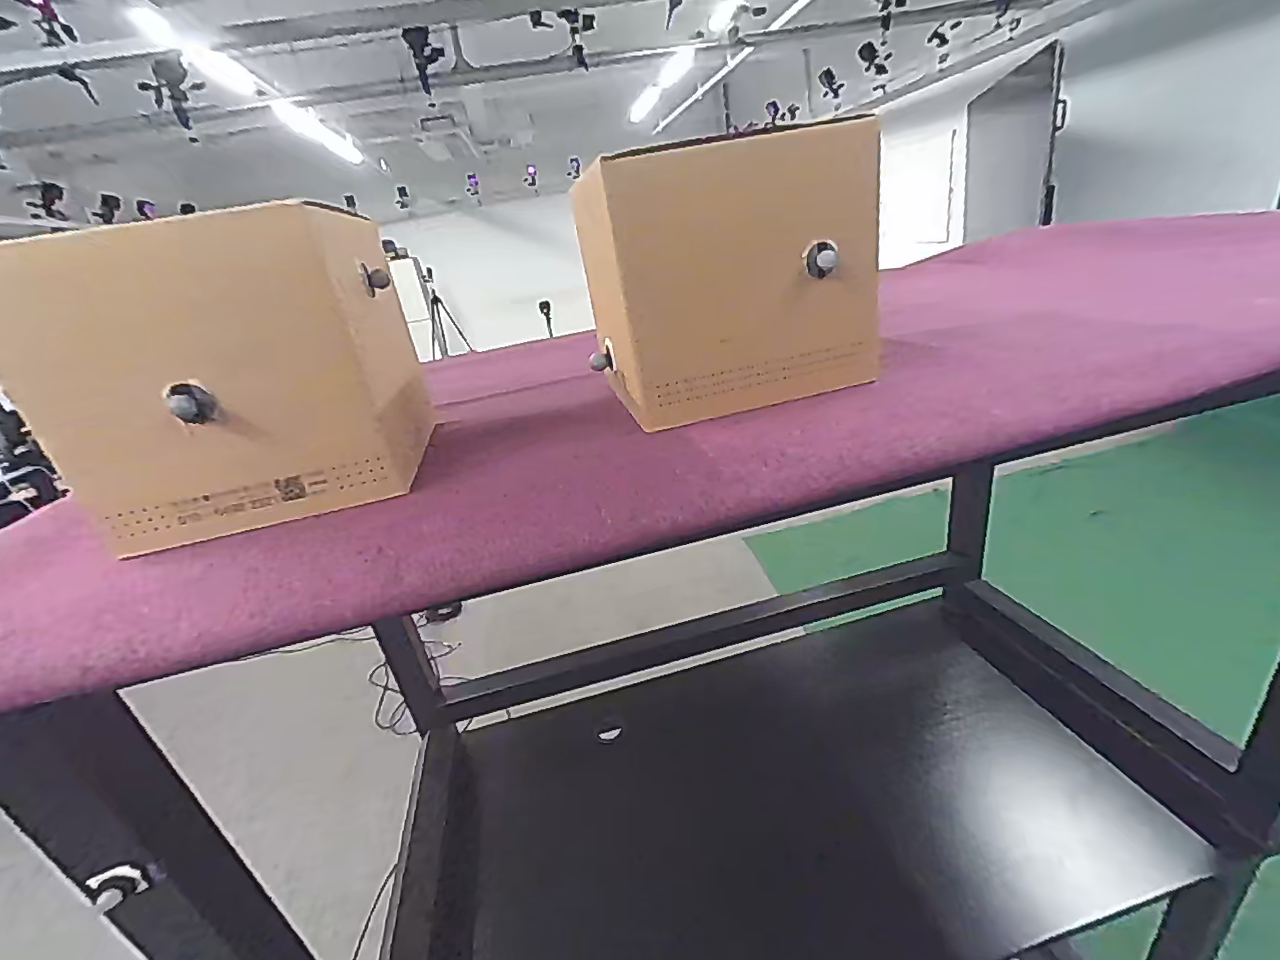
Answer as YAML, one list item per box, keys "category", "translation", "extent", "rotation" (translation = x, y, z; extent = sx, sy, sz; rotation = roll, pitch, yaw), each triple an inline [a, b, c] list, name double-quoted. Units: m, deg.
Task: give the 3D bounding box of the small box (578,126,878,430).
- category: "small box"
  translation: [0.060, -0.153, 0.425]
  extent: [0.179, 0.176, 0.168]
  rotation: [-14, 23, -8]

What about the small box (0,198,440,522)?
- category: "small box"
  translation: [-0.249, -0.082, 0.374]
  extent: [0.168, 0.176, 0.179]
  rotation: [-12, 24, -9]
